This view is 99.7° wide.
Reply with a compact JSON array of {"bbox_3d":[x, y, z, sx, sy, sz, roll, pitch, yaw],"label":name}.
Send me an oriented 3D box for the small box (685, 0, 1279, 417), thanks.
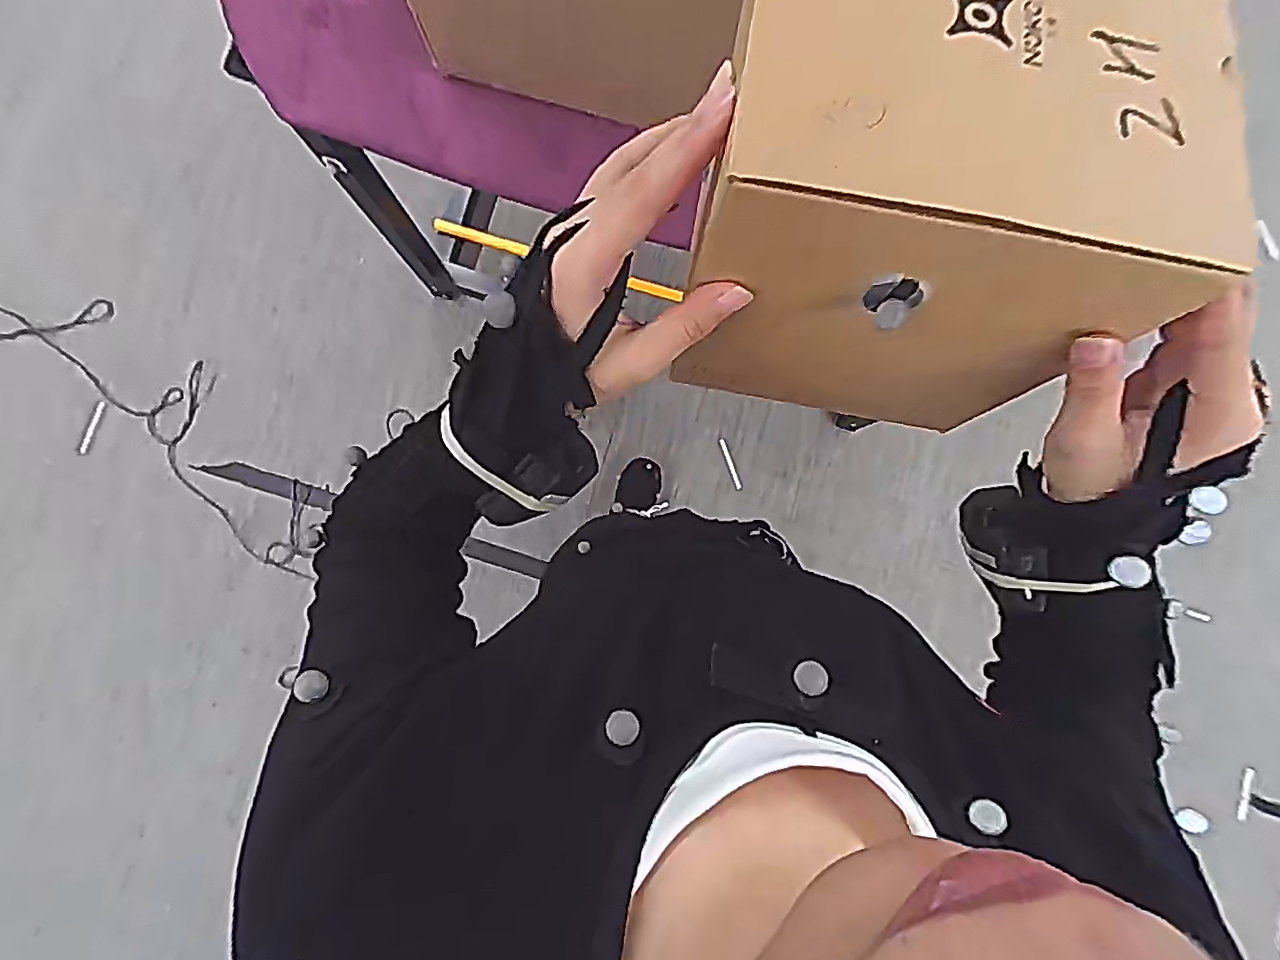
[{"bbox_3d":[0.125,-0.142,0.261,0.179,0.176,0.168,11,78,-1],"label":"small box"}]
